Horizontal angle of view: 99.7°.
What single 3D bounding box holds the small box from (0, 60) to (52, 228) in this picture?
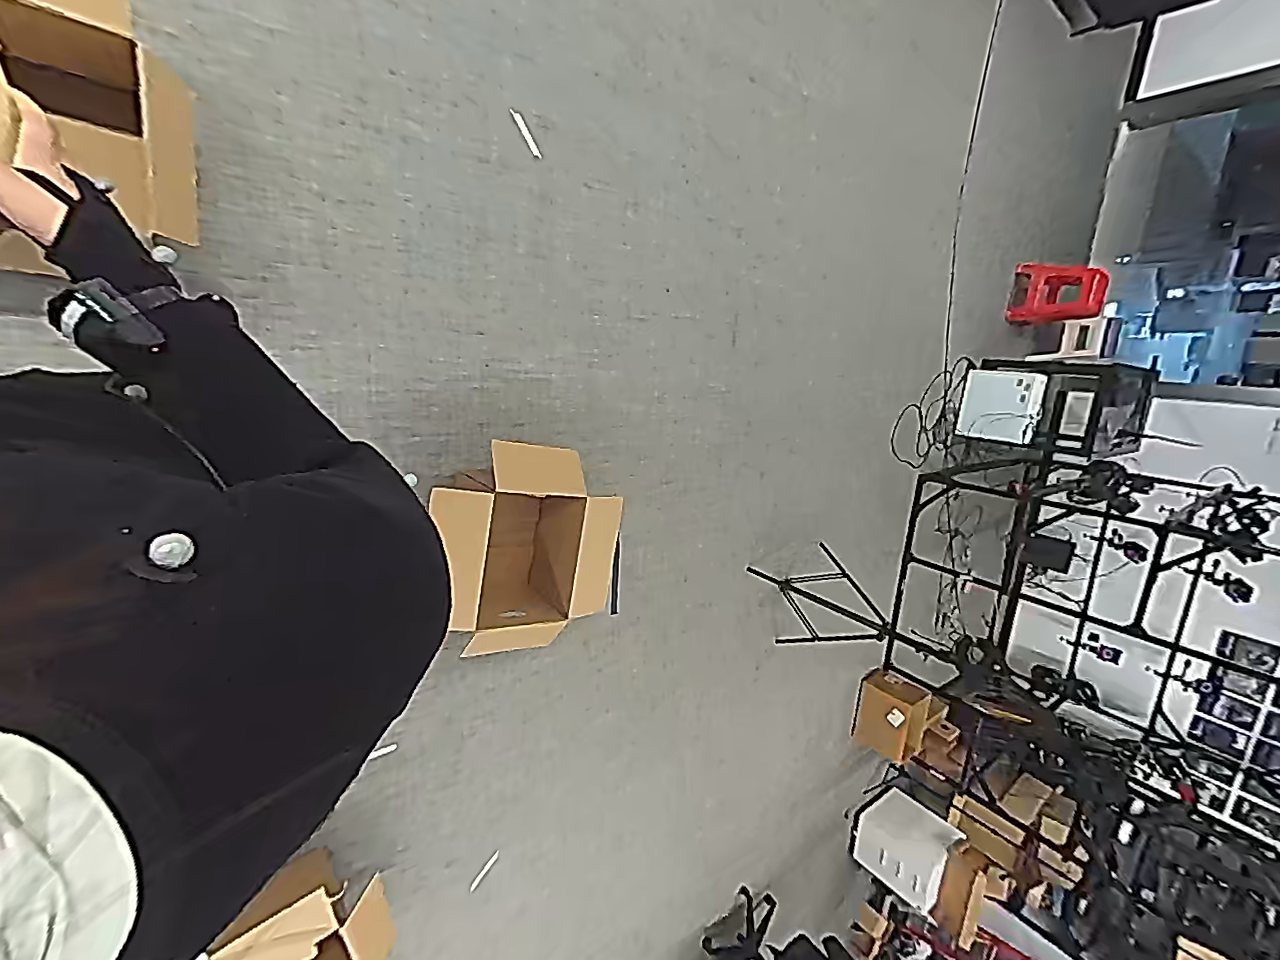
[{"bbox_3d":[-0.593,-0.286,0.384,0.168,0.176,0.179,-33,120,-56],"label":"small box"}]
